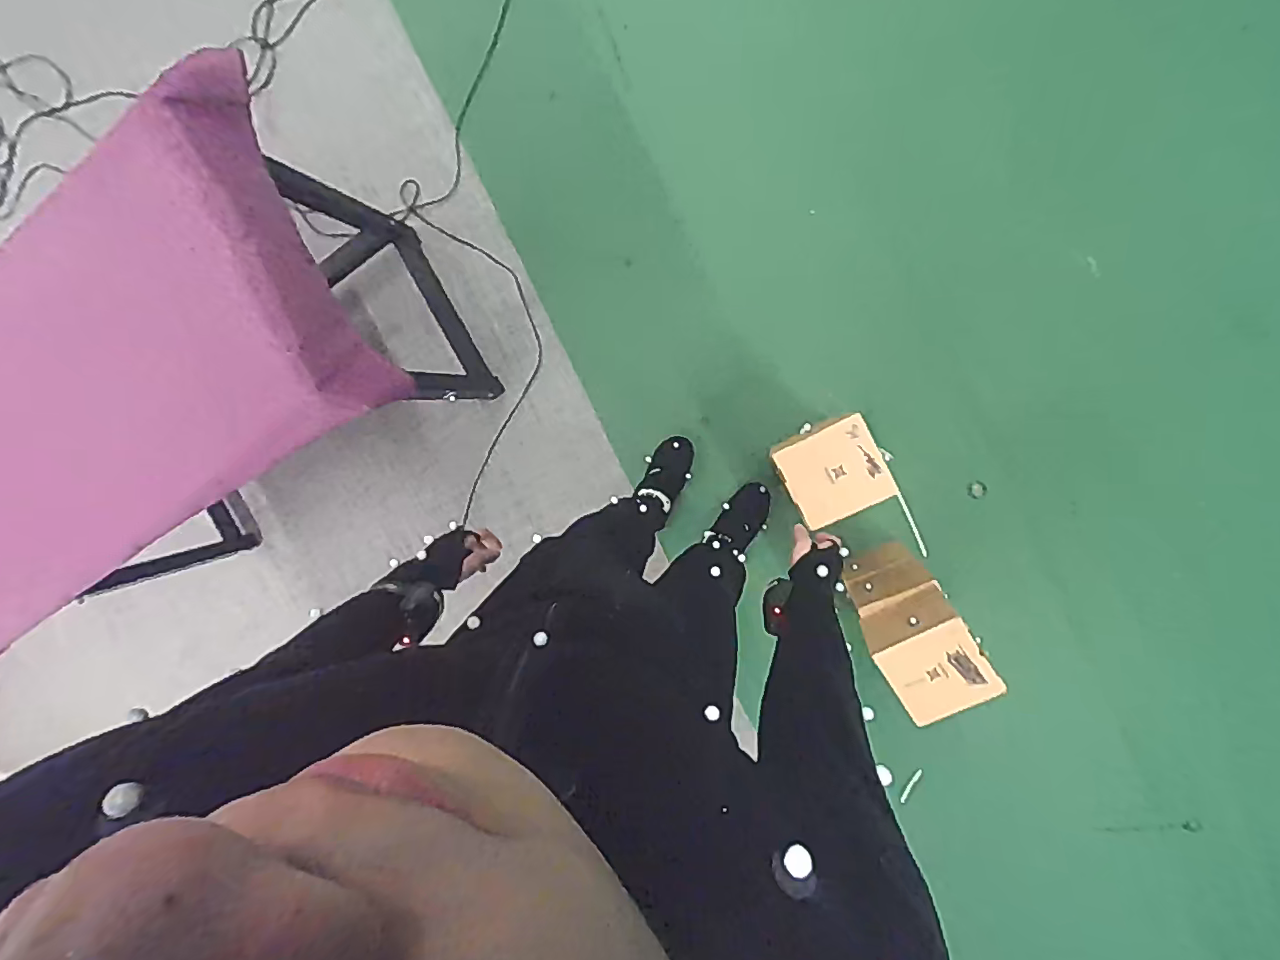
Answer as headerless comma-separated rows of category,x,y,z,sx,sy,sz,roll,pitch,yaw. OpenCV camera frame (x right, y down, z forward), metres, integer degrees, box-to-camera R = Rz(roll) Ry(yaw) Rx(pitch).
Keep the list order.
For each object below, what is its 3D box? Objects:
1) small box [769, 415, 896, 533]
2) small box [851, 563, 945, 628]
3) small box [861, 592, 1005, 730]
small box,0.371,-0.016,1.067,0.179,0.176,0.168,-27,90,15
small box,0.599,0.311,1.230,0.179,0.176,0.168,-27,92,16
small box,0.567,0.349,1.073,0.179,0.176,0.168,-33,90,18
